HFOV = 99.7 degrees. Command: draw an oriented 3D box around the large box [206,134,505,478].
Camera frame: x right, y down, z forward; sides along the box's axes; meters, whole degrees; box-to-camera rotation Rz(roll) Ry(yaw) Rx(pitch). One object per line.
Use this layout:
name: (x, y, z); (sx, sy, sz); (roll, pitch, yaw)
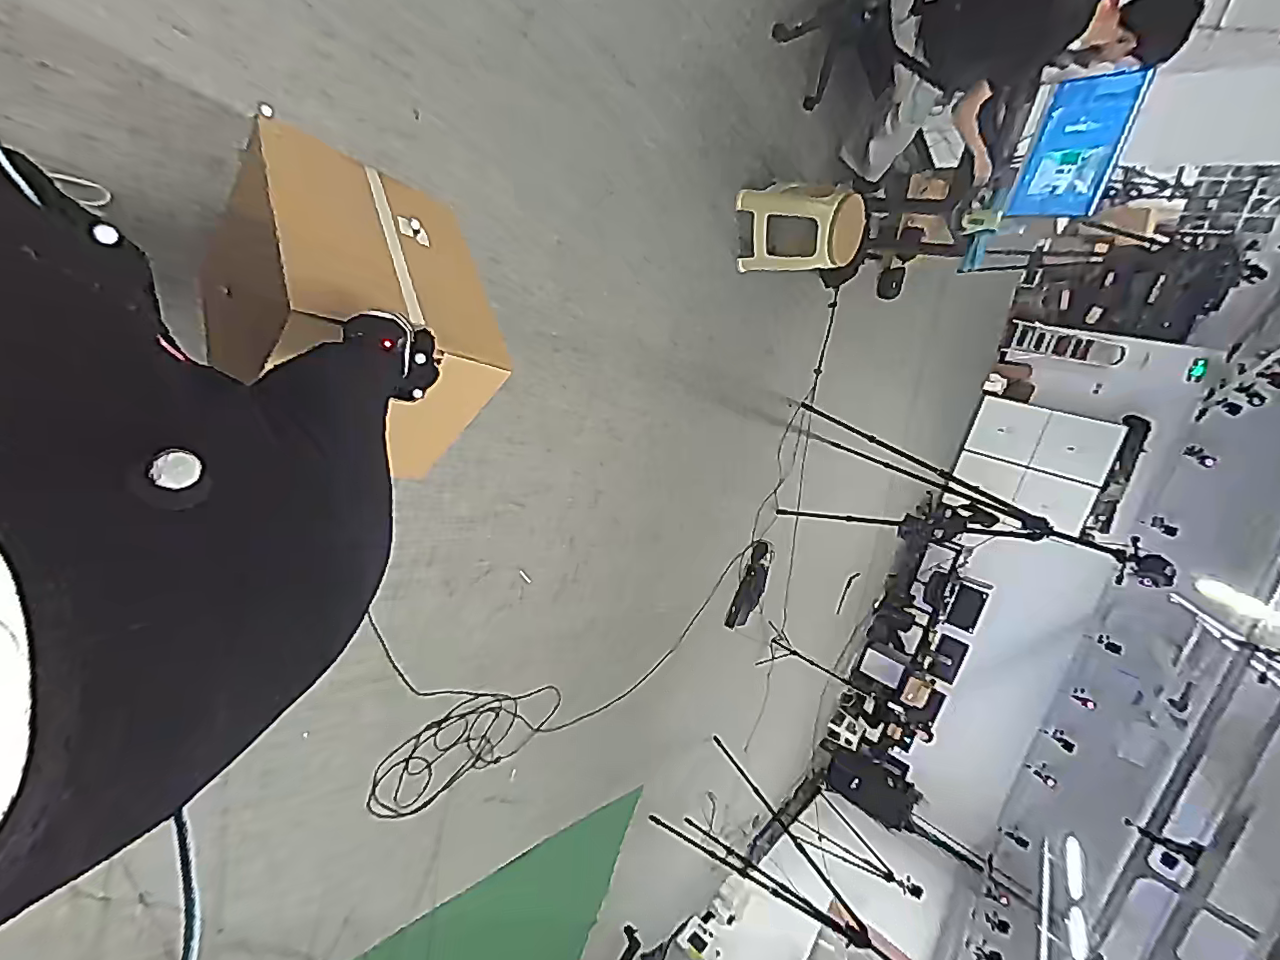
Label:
large box: (-0.487, -0.253, 0.903); (0.320, 0.408, 0.320); (-41, 151, 29)
